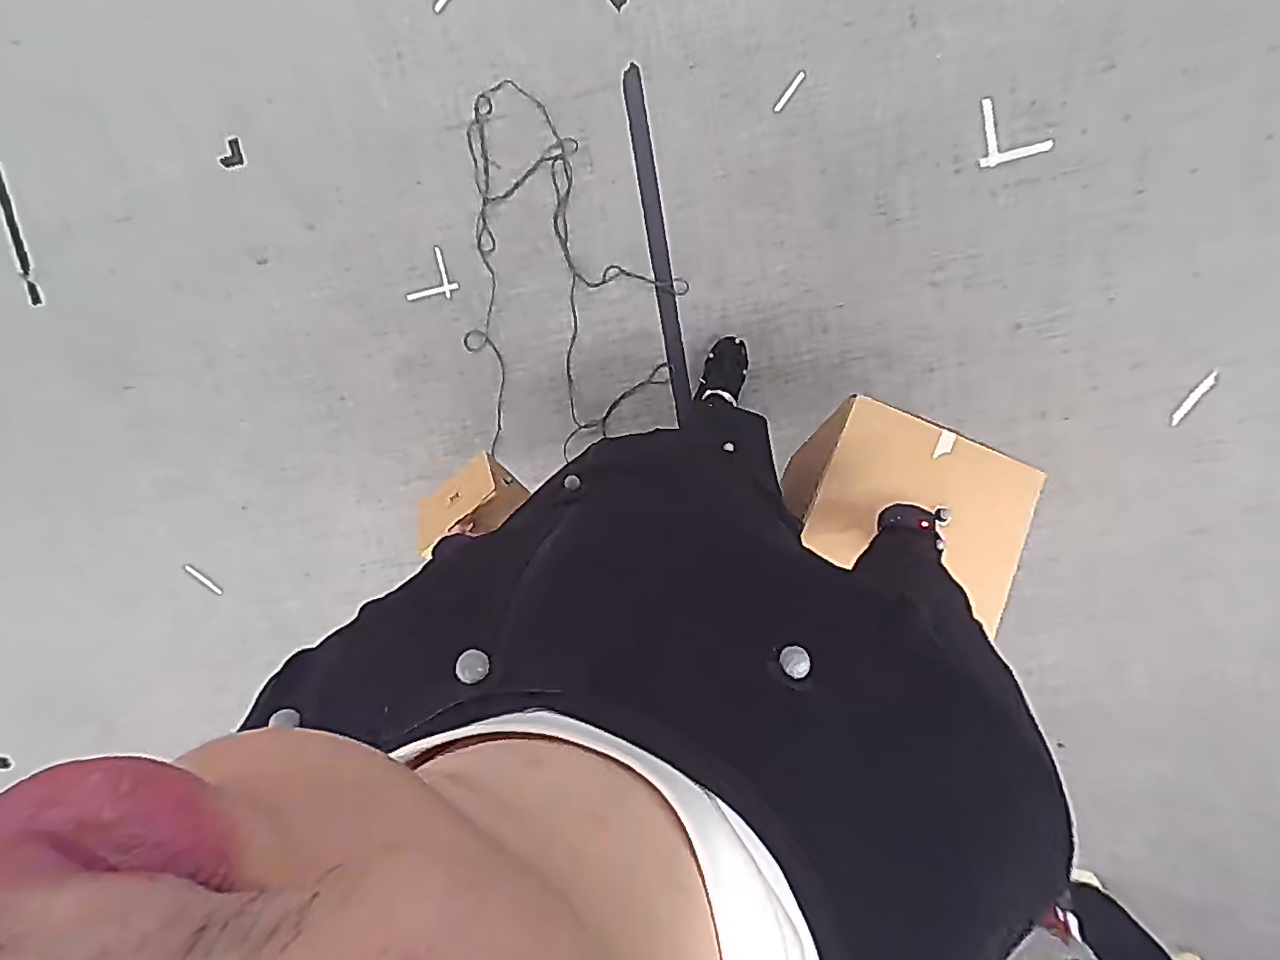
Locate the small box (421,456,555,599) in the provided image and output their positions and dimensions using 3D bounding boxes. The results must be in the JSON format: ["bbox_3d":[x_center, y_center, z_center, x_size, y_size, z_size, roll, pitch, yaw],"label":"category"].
[{"bbox_3d":[-0.277,0.092,0.993,0.168,0.179,0.176,-40,121,0],"label":"small box"}]
